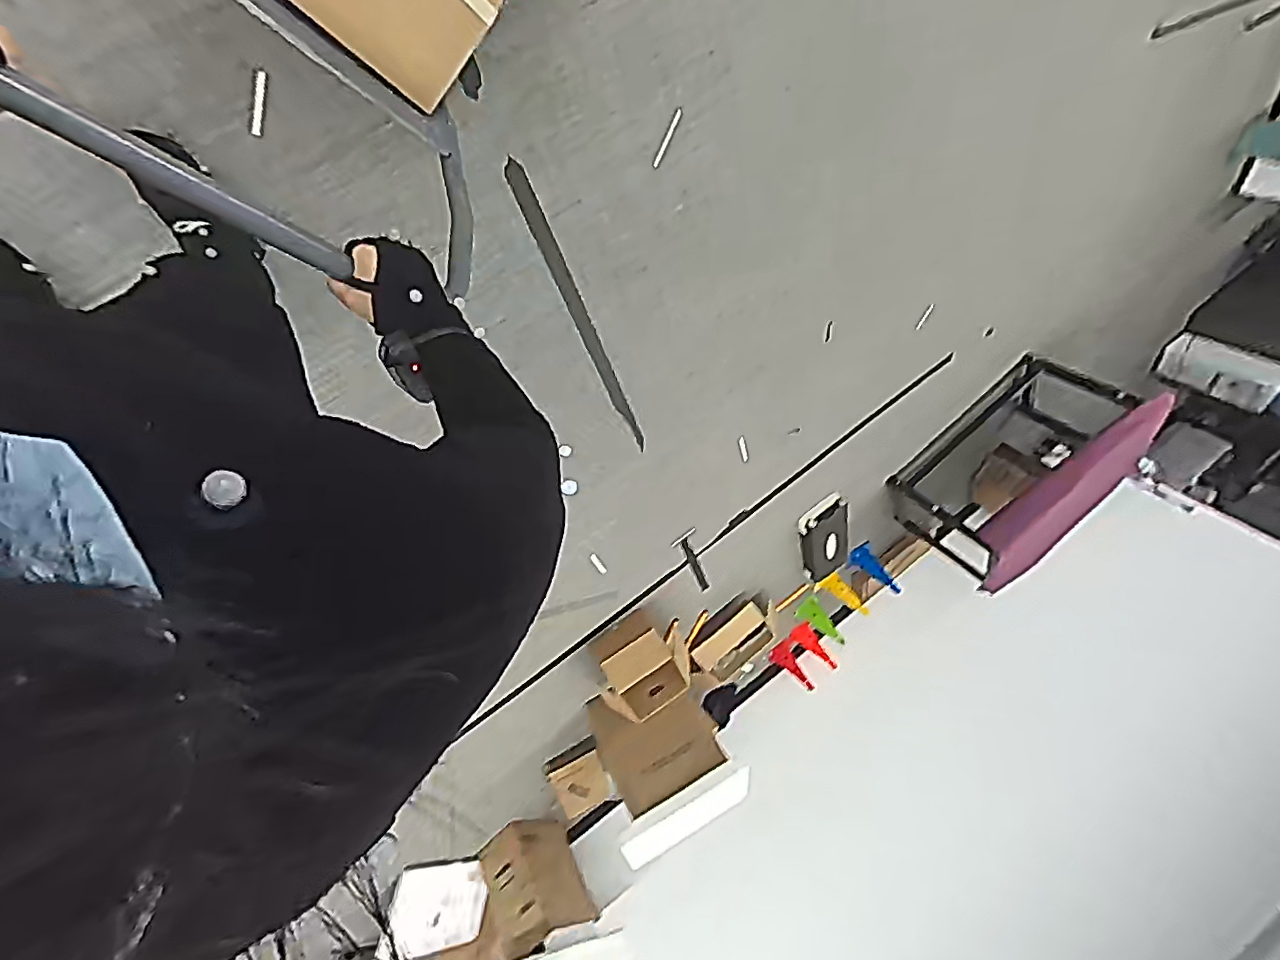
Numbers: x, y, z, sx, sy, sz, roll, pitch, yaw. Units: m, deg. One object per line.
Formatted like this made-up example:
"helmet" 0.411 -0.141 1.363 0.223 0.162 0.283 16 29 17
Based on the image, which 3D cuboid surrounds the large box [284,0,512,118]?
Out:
"large box" -0.370 -0.774 0.659 0.320 0.320 0.408 -39 145 23
